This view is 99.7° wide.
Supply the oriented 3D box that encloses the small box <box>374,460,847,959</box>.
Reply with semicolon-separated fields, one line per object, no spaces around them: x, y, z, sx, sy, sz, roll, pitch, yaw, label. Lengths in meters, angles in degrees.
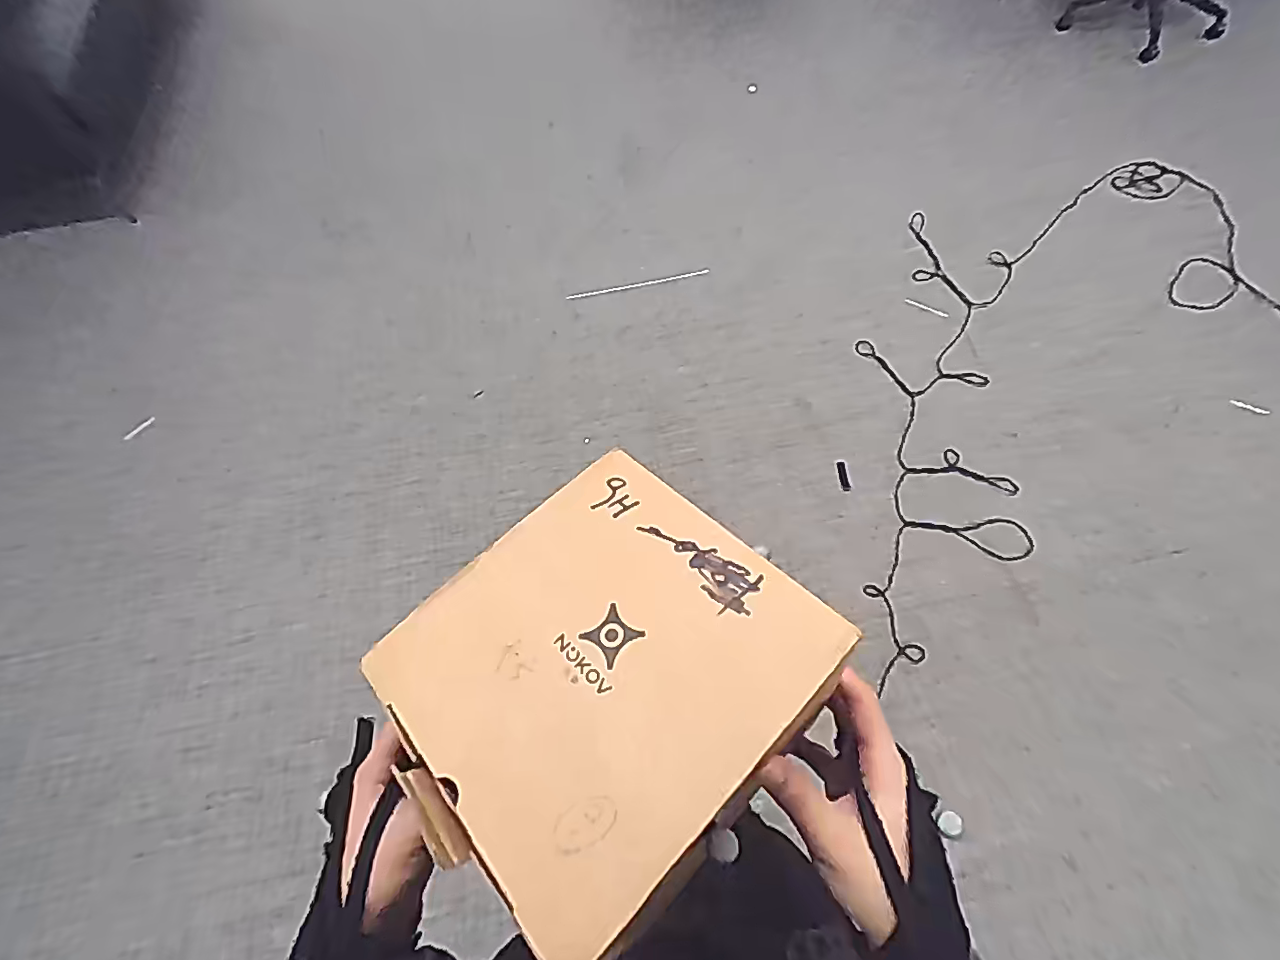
-0.007;0.129;0.321;0.179;0.176;0.168;-41;58;-19;small box
